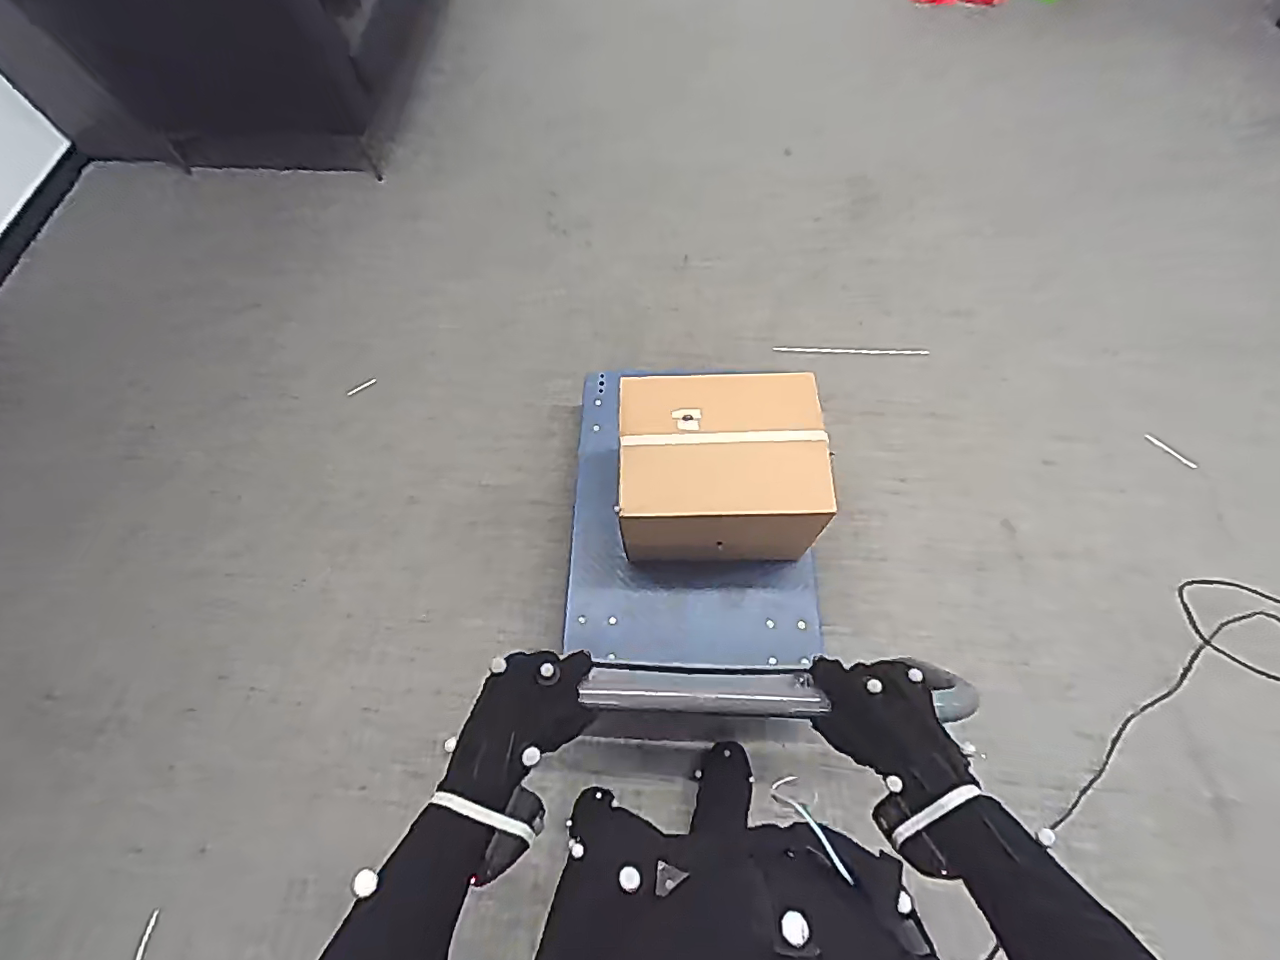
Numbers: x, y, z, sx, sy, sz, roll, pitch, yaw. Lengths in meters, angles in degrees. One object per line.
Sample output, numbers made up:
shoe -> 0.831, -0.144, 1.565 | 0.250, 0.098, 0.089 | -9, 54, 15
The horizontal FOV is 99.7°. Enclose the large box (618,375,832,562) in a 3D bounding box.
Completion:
large box -> 0.168, -0.009, 1.213 | 0.408, 0.320, 0.320 | -3, 65, 3
